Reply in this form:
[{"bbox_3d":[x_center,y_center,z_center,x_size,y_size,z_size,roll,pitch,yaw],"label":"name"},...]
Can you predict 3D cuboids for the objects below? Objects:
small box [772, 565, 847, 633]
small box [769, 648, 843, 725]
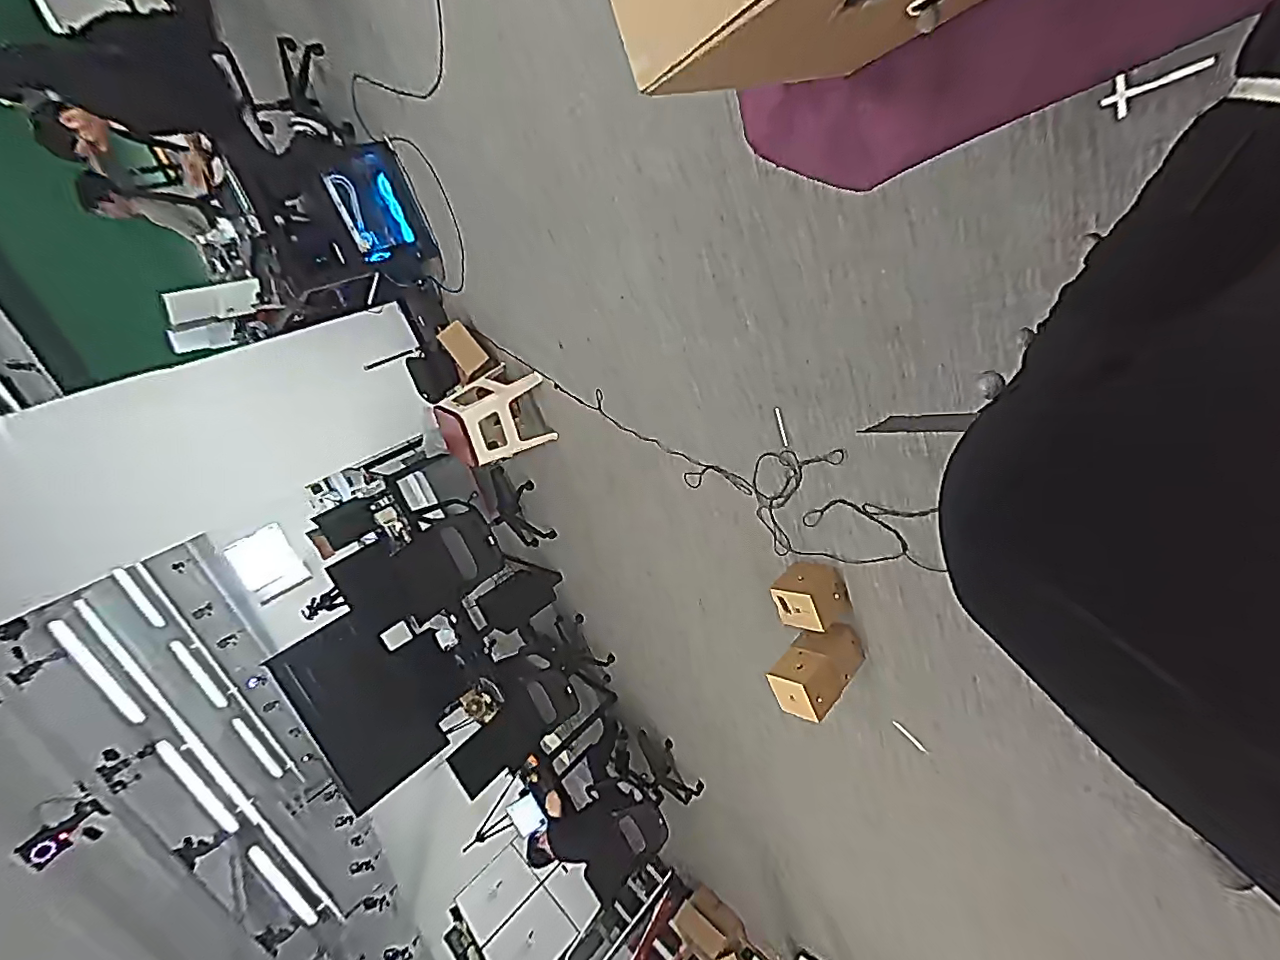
[{"bbox_3d":[0.617,0.424,1.960,0.179,0.176,0.168,-2,118,53],"label":"small box"},{"bbox_3d":[0.603,0.738,1.956,0.168,0.176,0.179,-6,114,55],"label":"small box"}]
